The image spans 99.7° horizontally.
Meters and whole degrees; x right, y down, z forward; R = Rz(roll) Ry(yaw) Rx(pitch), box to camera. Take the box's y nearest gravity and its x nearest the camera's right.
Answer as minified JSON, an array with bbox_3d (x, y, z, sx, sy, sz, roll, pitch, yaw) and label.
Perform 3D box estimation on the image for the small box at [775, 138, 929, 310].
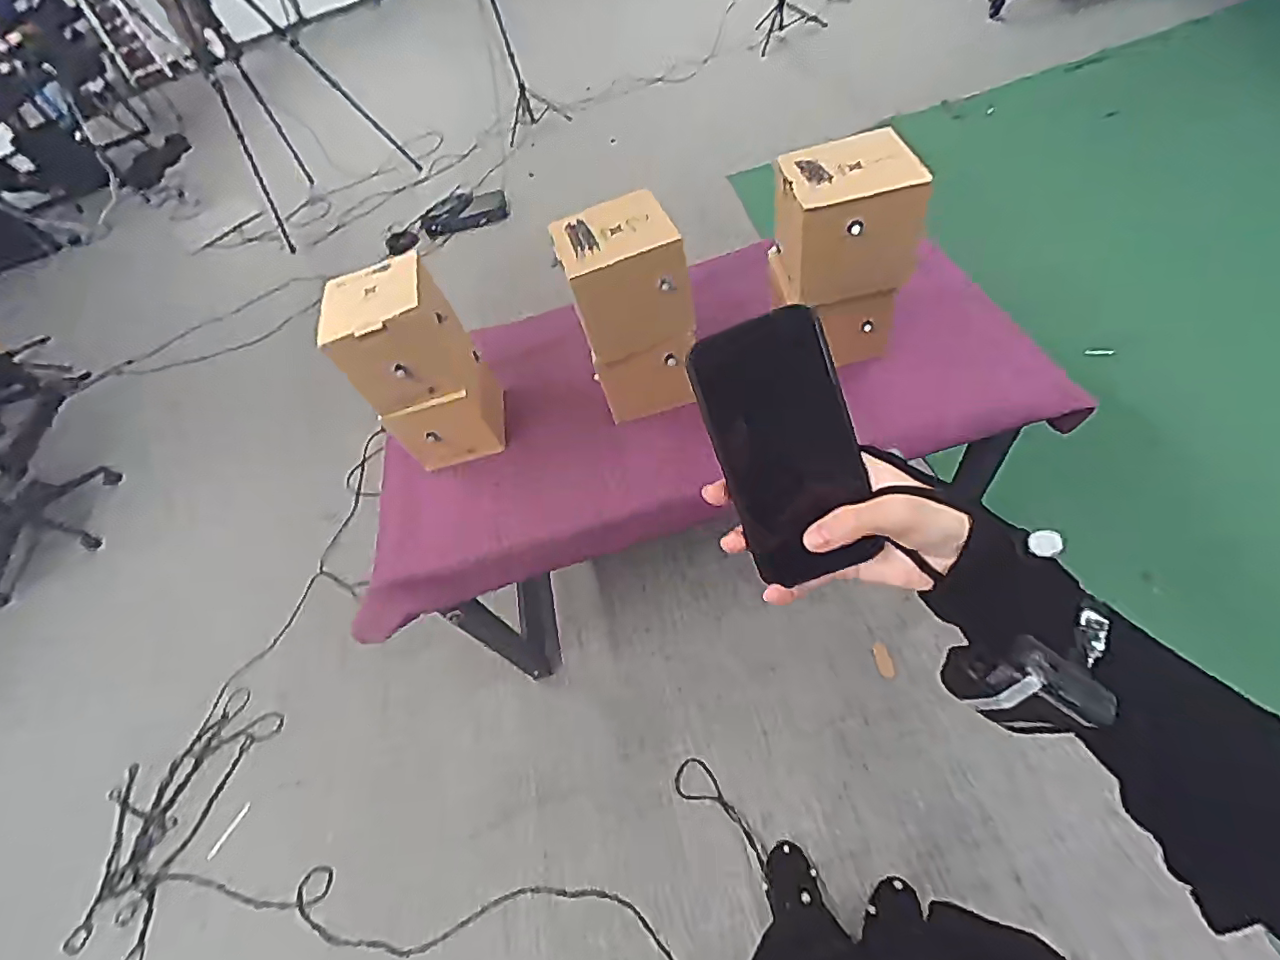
[{"bbox_3d":[0.316,-0.390,0.843,0.179,0.176,0.168,-11,53,7],"label":"small box"}]

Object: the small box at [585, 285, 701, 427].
[{"bbox_3d":[0.011,-0.226,1.012,0.179,0.176,0.168,-16,53,4],"label":"small box"}]

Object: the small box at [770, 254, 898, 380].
[{"bbox_3d":[0.340,-0.307,0.983,0.179,0.176,0.168,-11,53,8],"label":"small box"}]

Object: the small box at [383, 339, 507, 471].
[{"bbox_3d":[-0.368,-0.135,1.050,0.168,0.176,0.179,-15,53,4],"label":"small box"}]

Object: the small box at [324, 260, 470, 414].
[{"bbox_3d":[-0.405,-0.234,0.924,0.168,0.176,0.179,-19,54,0],"label":"small box"}]
